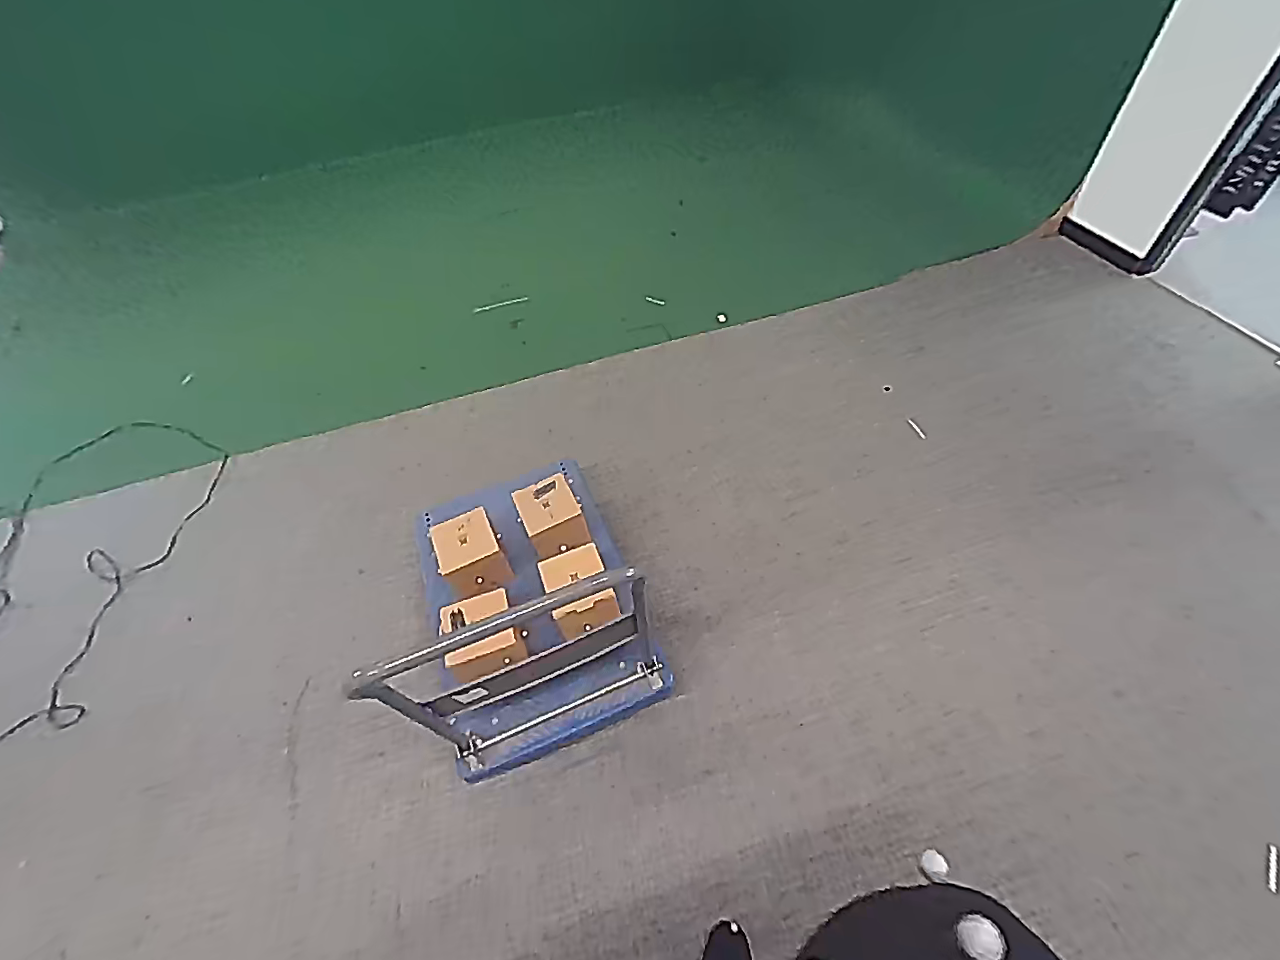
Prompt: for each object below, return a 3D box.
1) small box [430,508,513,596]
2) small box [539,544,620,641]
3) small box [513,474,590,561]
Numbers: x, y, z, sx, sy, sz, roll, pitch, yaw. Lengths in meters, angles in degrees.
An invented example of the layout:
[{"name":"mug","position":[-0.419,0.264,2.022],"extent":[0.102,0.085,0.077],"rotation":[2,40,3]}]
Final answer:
[{"name":"small box","position":[-0.491,0.219,1.593],"extent":[0.168,0.176,0.179],"rotation":[-23,53,-12]},{"name":"small box","position":[-0.163,0.311,1.486],"extent":[0.168,0.176,0.179],"rotation":[-20,53,-9]},{"name":"small box","position":[-0.266,0.118,1.645],"extent":[0.168,0.176,0.179],"rotation":[-24,55,-11]}]
